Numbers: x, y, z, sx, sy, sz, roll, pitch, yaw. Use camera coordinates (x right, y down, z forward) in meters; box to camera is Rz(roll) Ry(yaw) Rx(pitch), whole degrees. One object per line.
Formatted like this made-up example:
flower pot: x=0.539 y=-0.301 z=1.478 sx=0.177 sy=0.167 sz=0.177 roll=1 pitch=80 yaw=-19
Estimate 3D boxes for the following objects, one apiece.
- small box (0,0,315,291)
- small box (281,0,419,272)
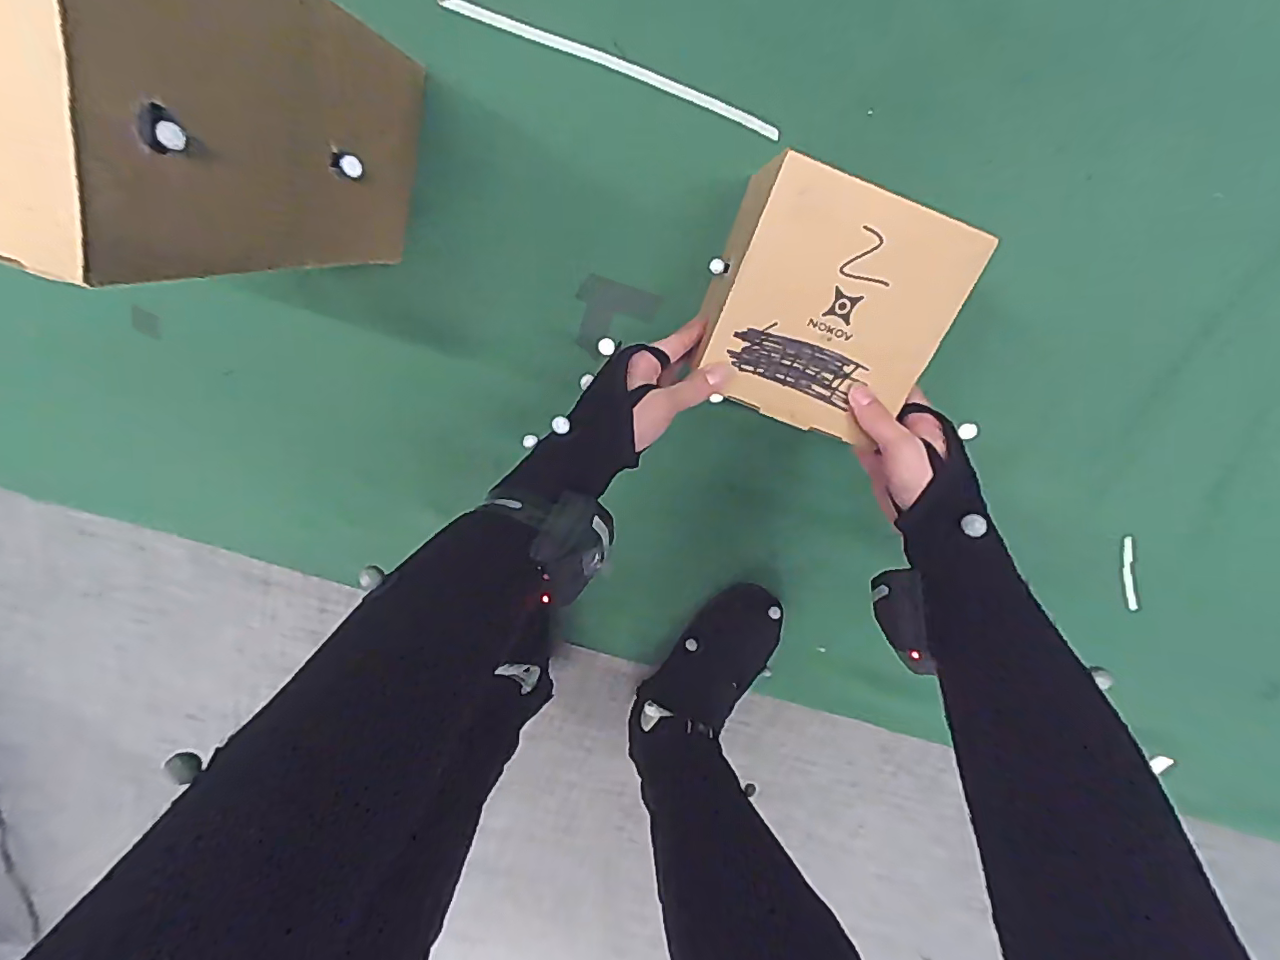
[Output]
small box: x=-0.304 y=-0.221 z=0.288 sx=0.168 sy=0.176 sz=0.179 roll=18 pitch=114 yaw=-6
small box: x=-0.299 y=-0.287 z=0.438 sx=0.168 sy=0.176 sz=0.179 roll=18 pitch=114 yaw=-6
